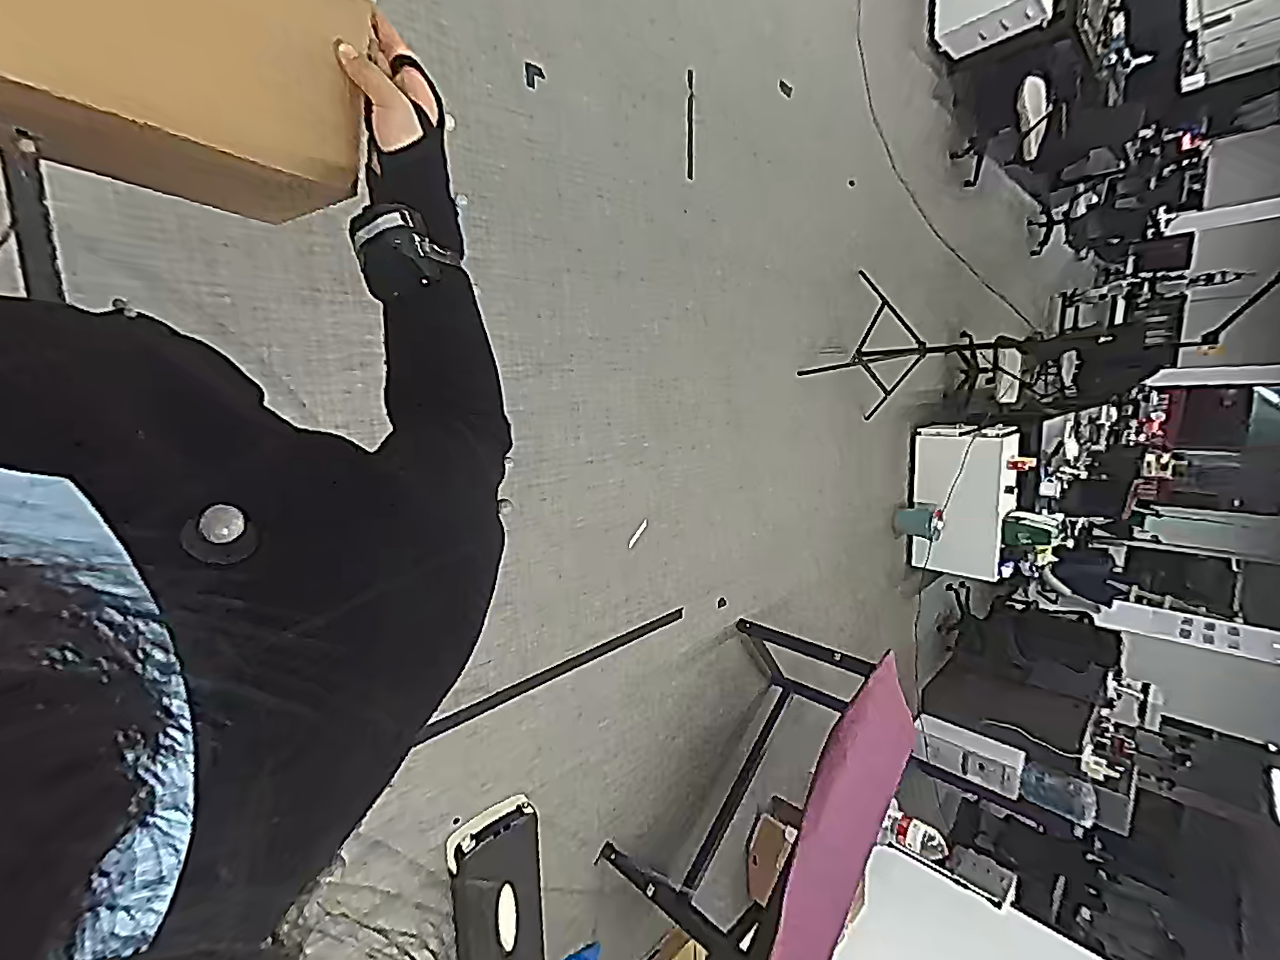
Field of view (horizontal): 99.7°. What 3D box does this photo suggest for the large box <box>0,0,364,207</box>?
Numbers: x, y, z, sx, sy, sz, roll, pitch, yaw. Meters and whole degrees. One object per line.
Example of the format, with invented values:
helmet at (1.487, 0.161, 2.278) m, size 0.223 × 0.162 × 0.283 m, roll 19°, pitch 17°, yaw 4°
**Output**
large box at (-0.468, -0.440, 0.410) m, size 0.408 × 0.320 × 0.320 m, roll -1°, pitch 104°, yaw -45°
